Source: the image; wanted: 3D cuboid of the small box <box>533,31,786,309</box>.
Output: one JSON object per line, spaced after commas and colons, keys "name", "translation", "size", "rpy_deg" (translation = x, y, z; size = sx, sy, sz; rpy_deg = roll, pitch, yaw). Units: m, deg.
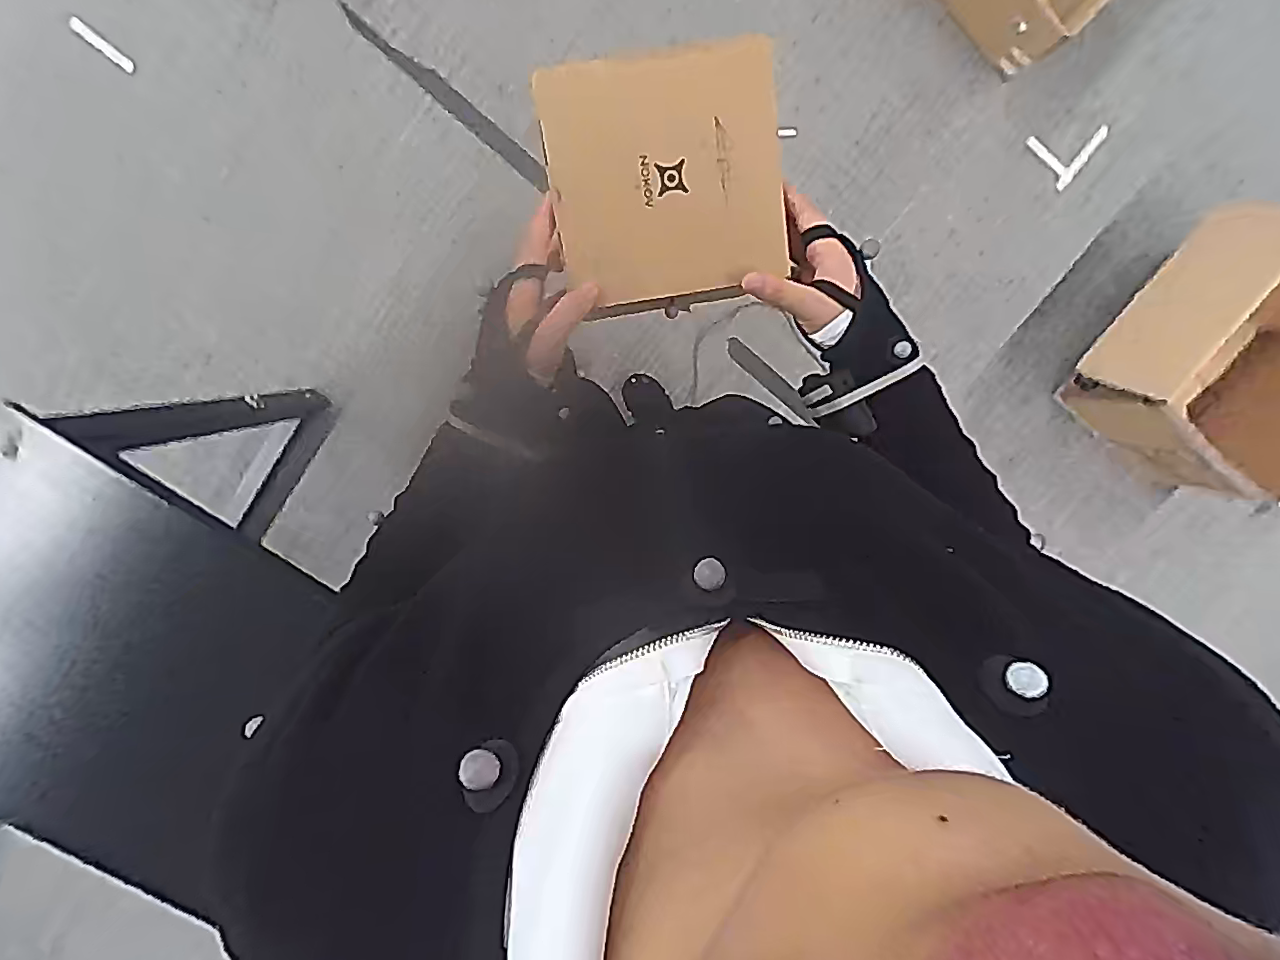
{"name": "small box", "translation": [0.015, -0.253, 0.485], "size": [0.179, 0.176, 0.168], "rpy_deg": [-10, 105, -2]}
